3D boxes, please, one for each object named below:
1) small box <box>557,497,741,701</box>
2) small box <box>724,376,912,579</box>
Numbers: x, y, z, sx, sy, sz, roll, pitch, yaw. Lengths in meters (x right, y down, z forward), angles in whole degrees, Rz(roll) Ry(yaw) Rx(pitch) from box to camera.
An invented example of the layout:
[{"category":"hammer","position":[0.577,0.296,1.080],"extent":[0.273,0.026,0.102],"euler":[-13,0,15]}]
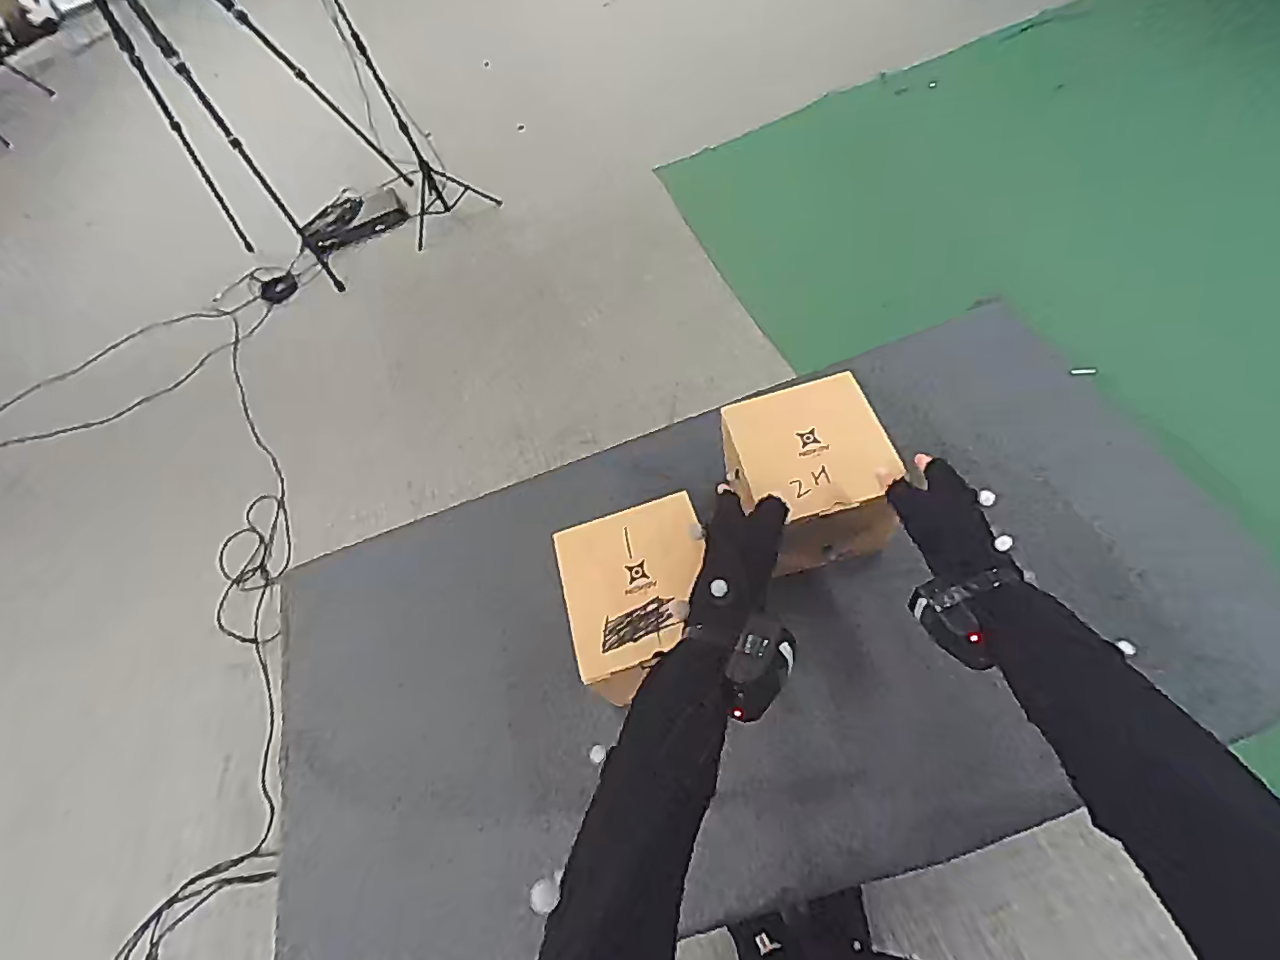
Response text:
[{"category":"small box","position":[0.016,0.153,0.650],"extent":[0.168,0.176,0.179],"euler":[-19,57,2]},{"category":"small box","position":[0.212,0.003,0.691],"extent":[0.168,0.176,0.179],"euler":[-16,58,4]}]
